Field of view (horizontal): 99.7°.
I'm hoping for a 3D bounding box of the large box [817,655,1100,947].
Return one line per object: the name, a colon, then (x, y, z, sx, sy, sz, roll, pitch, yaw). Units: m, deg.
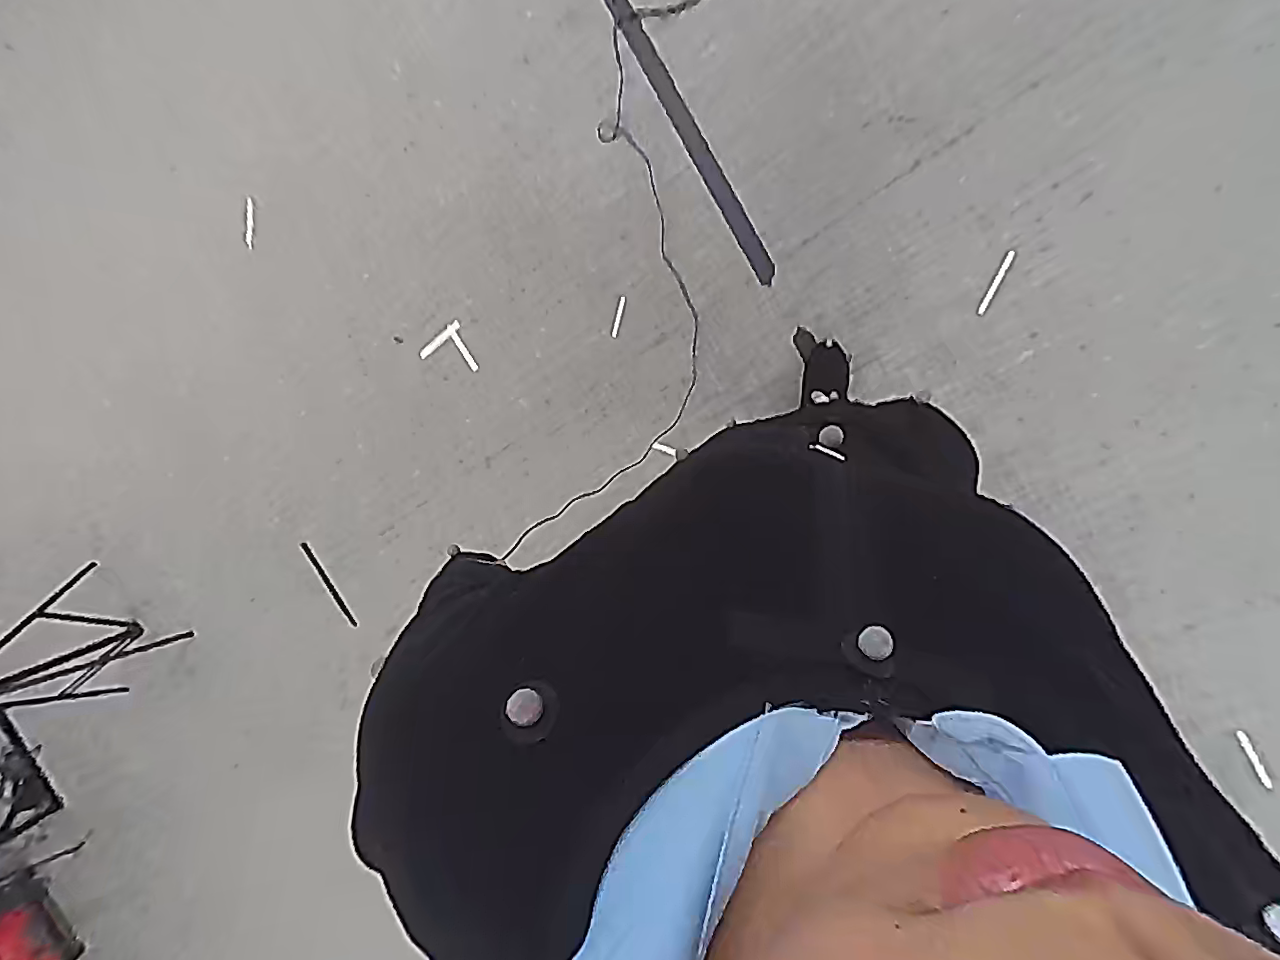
large box: (0.639, 0.673, 1.178, 0.320, 0.320, 0.408, 41, 111, 6)
